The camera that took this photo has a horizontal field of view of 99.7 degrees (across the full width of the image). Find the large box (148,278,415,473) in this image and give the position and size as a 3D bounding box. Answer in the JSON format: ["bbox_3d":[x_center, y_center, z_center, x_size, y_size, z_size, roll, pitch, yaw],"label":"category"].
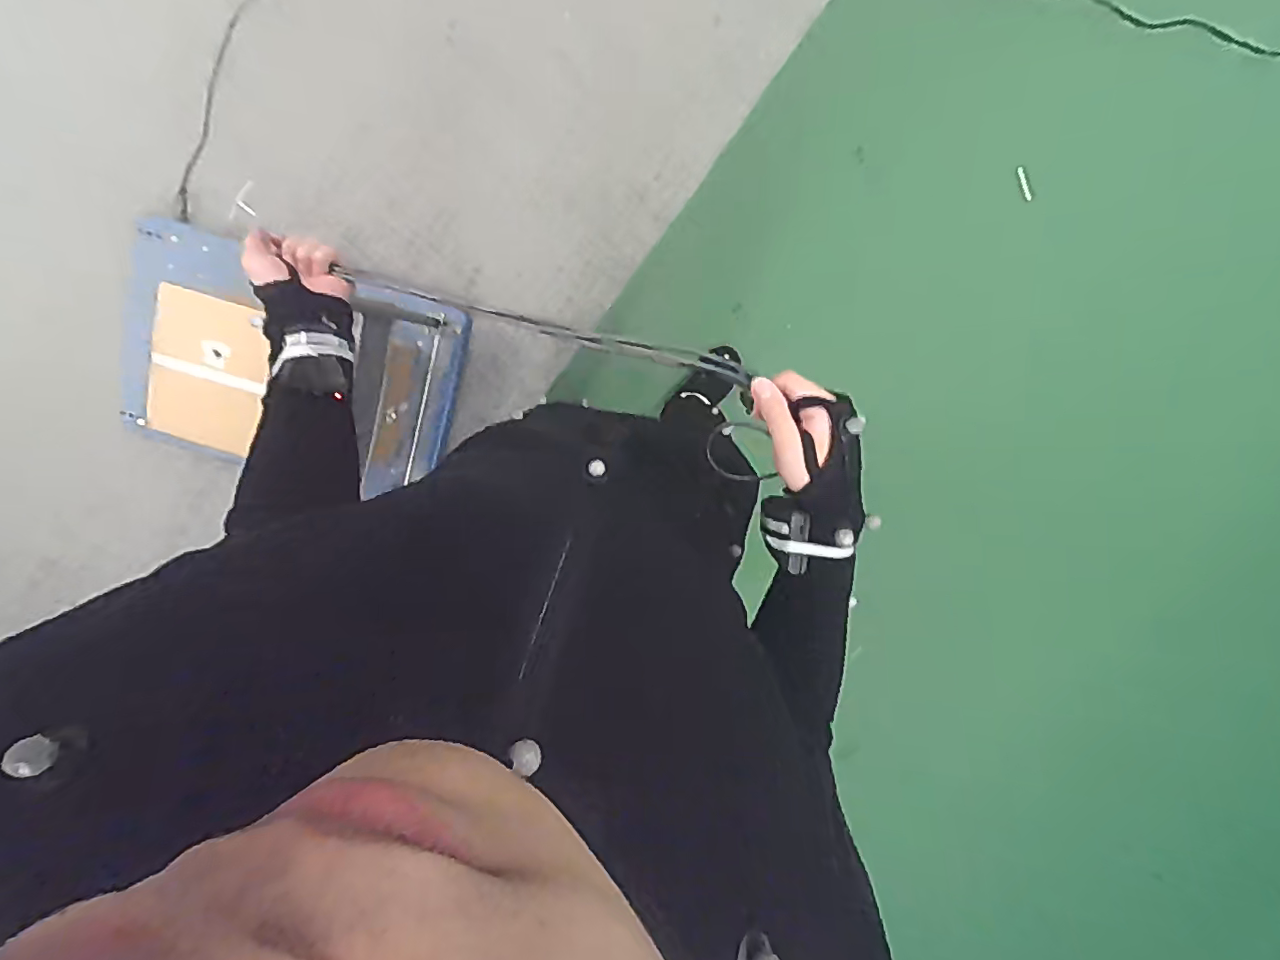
[{"bbox_3d":[-0.803,-0.240,1.259,0.408,0.320,0.320,17,101,0],"label":"large box"}]
